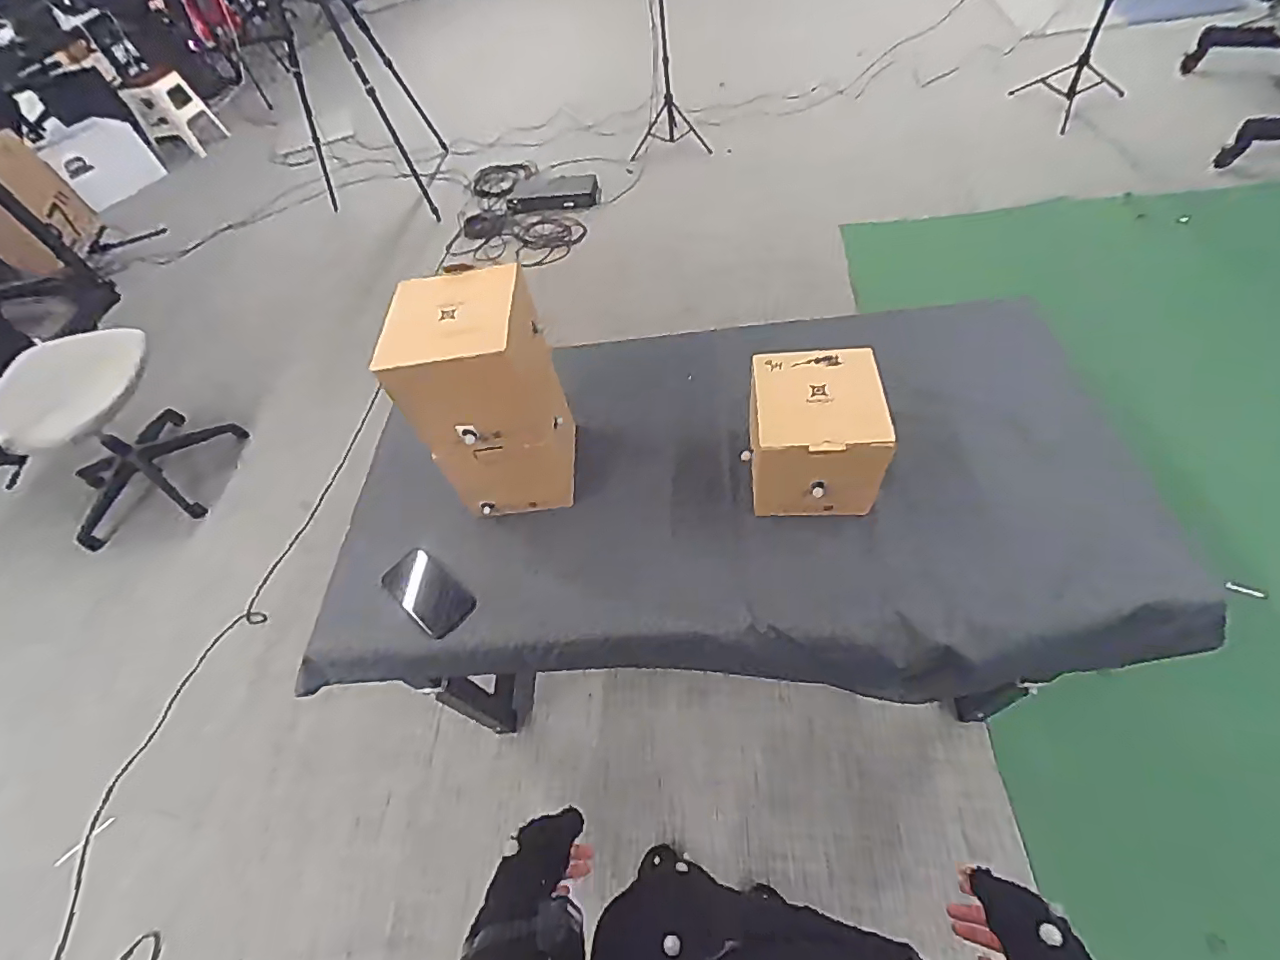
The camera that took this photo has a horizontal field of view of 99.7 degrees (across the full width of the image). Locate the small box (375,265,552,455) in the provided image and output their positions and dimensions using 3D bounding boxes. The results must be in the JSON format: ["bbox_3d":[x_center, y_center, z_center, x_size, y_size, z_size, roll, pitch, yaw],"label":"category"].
[{"bbox_3d":[-0.222,-0.158,0.734,0.168,0.176,0.179,-8,55,4],"label":"small box"}]

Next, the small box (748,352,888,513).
[{"bbox_3d":[0.246,-0.062,0.793,0.168,0.176,0.179,-1,55,9],"label":"small box"}]

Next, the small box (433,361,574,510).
[{"bbox_3d":[-0.204,-0.064,0.865,0.168,0.176,0.179,-6,53,4],"label":"small box"}]
